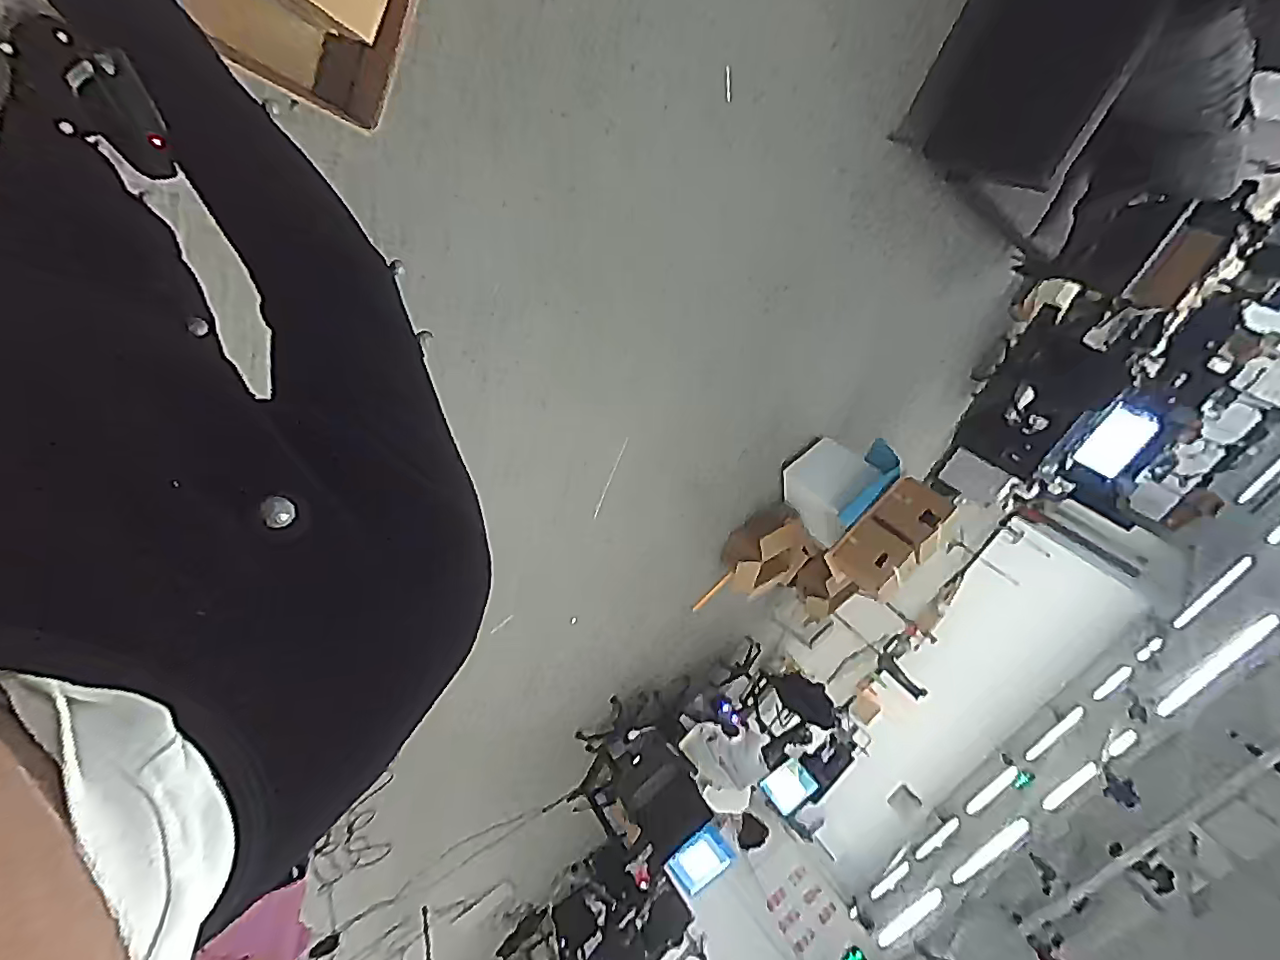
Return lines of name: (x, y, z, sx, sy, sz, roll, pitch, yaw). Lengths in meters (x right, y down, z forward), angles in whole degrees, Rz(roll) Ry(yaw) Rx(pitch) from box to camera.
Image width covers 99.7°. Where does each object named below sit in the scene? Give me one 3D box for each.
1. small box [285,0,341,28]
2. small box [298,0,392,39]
small box: (-0.444, -0.719, 0.669, 0.168, 0.176, 0.179, 12, 117, -50)
small box: (-0.353, -0.624, 0.572, 0.168, 0.176, 0.179, 11, 117, -50)
